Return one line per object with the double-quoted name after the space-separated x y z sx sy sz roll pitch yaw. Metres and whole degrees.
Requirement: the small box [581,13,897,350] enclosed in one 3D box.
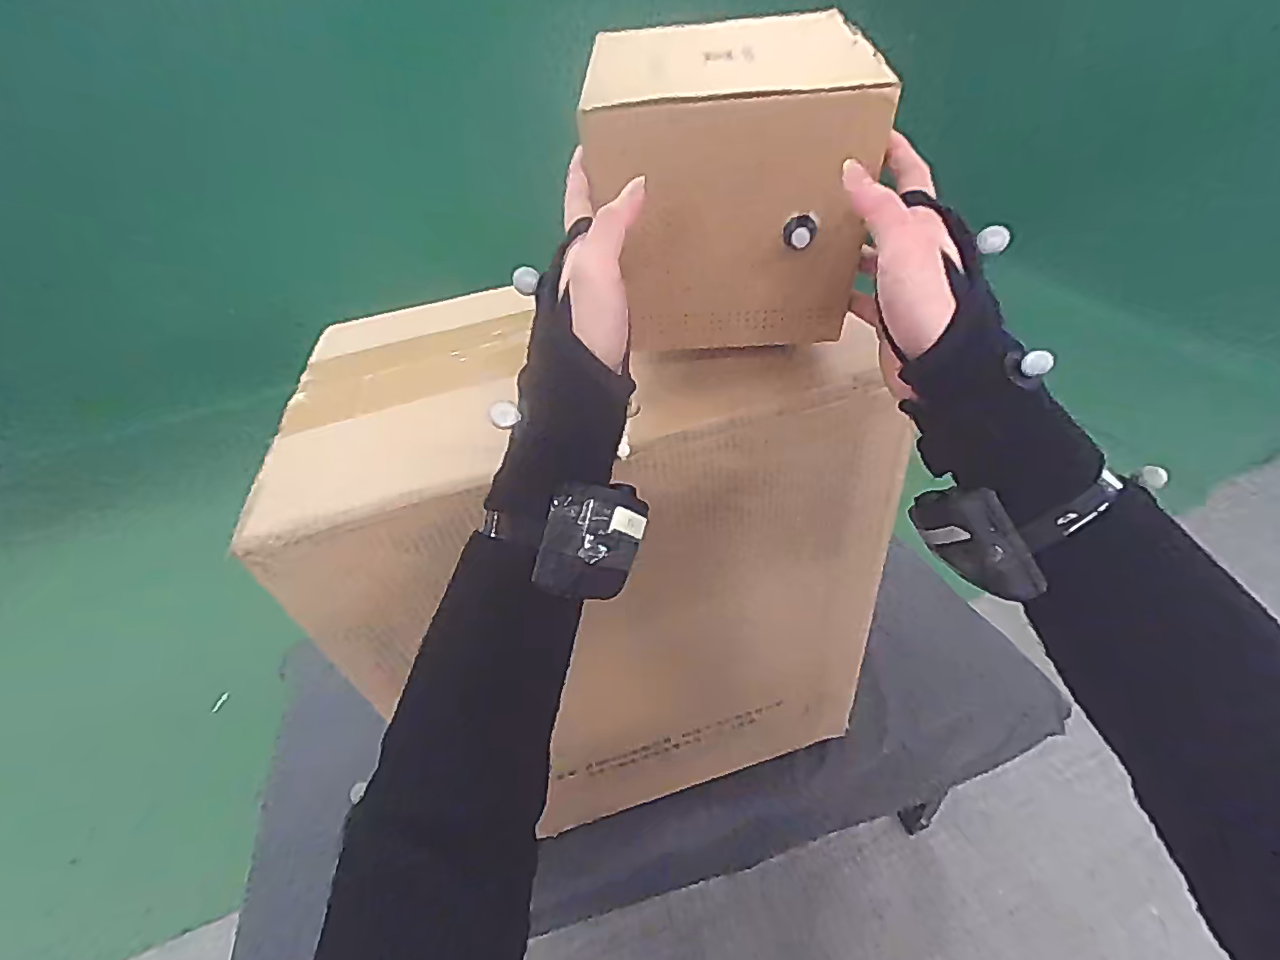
0.064 -0.215 0.408 0.179 0.176 0.168 -2 51 6 "small box"
